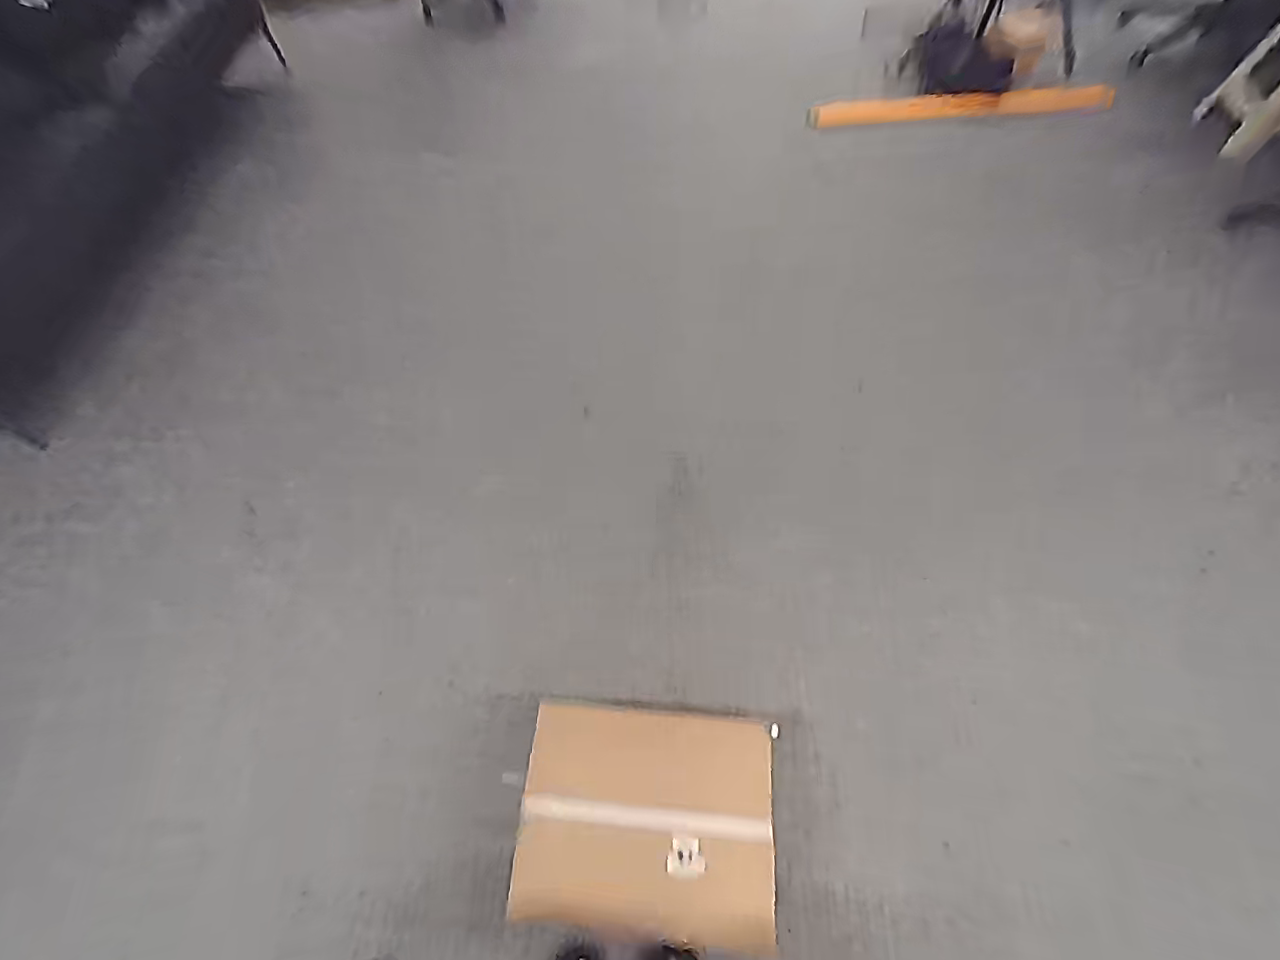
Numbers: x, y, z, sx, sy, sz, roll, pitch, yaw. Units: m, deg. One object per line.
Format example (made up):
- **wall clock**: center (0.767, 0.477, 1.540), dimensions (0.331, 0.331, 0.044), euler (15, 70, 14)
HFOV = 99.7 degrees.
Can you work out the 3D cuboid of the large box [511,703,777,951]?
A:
- **large box**: center (0.018, 0.611, 0.997), dimensions (0.408, 0.320, 0.320), euler (4, 62, 4)
